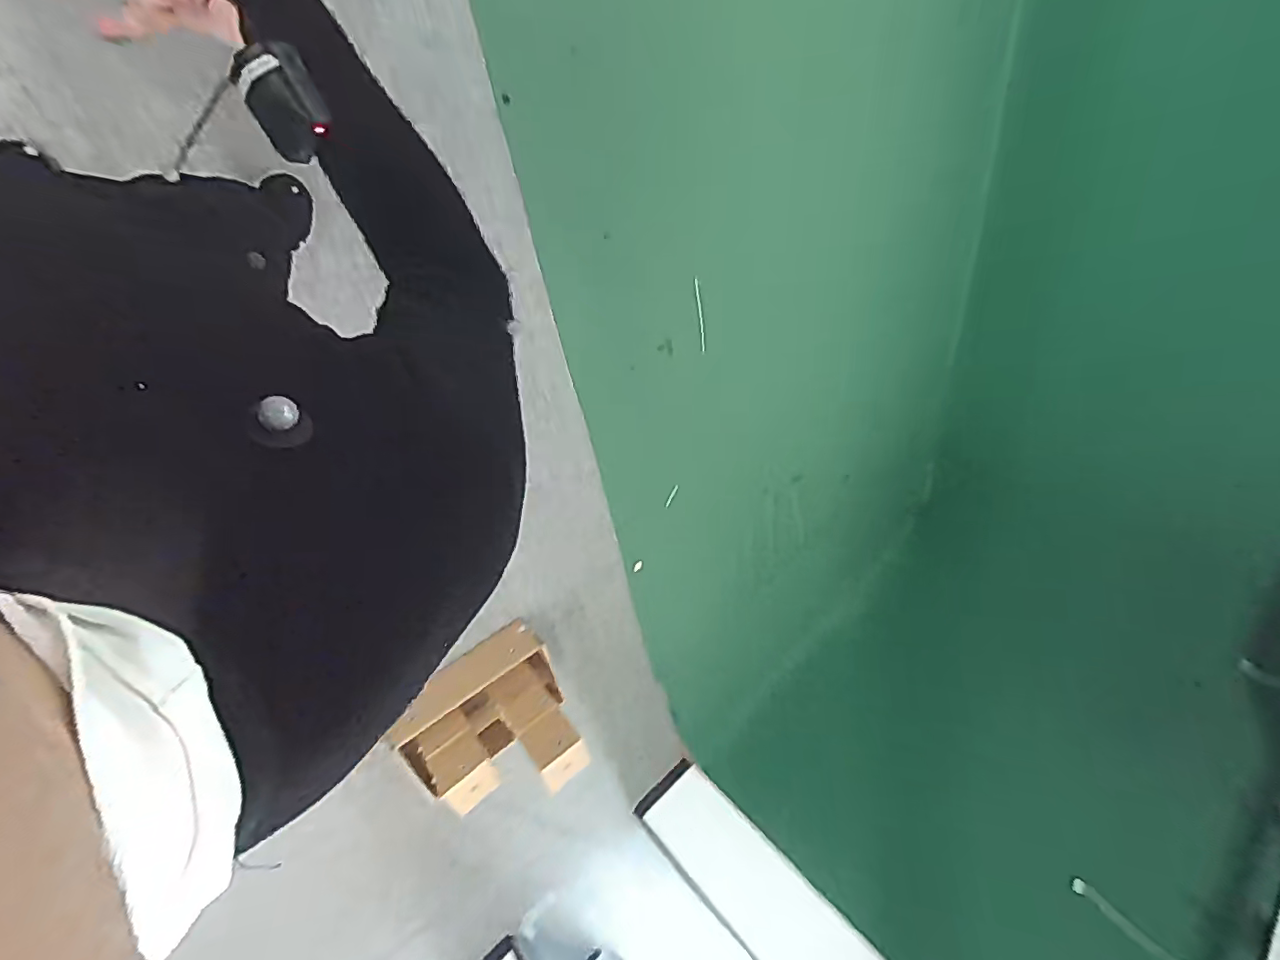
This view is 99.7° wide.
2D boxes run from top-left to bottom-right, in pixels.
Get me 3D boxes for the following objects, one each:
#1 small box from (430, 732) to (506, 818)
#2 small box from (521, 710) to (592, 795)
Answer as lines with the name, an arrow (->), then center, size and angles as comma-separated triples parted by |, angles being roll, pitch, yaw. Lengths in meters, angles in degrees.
small box -> -0.615, 1.042, 1.926 | 0.179, 0.176, 0.168 | -34, 129, -26
small box -> -0.299, 0.968, 1.935 | 0.179, 0.176, 0.168 | -31, 130, -27
